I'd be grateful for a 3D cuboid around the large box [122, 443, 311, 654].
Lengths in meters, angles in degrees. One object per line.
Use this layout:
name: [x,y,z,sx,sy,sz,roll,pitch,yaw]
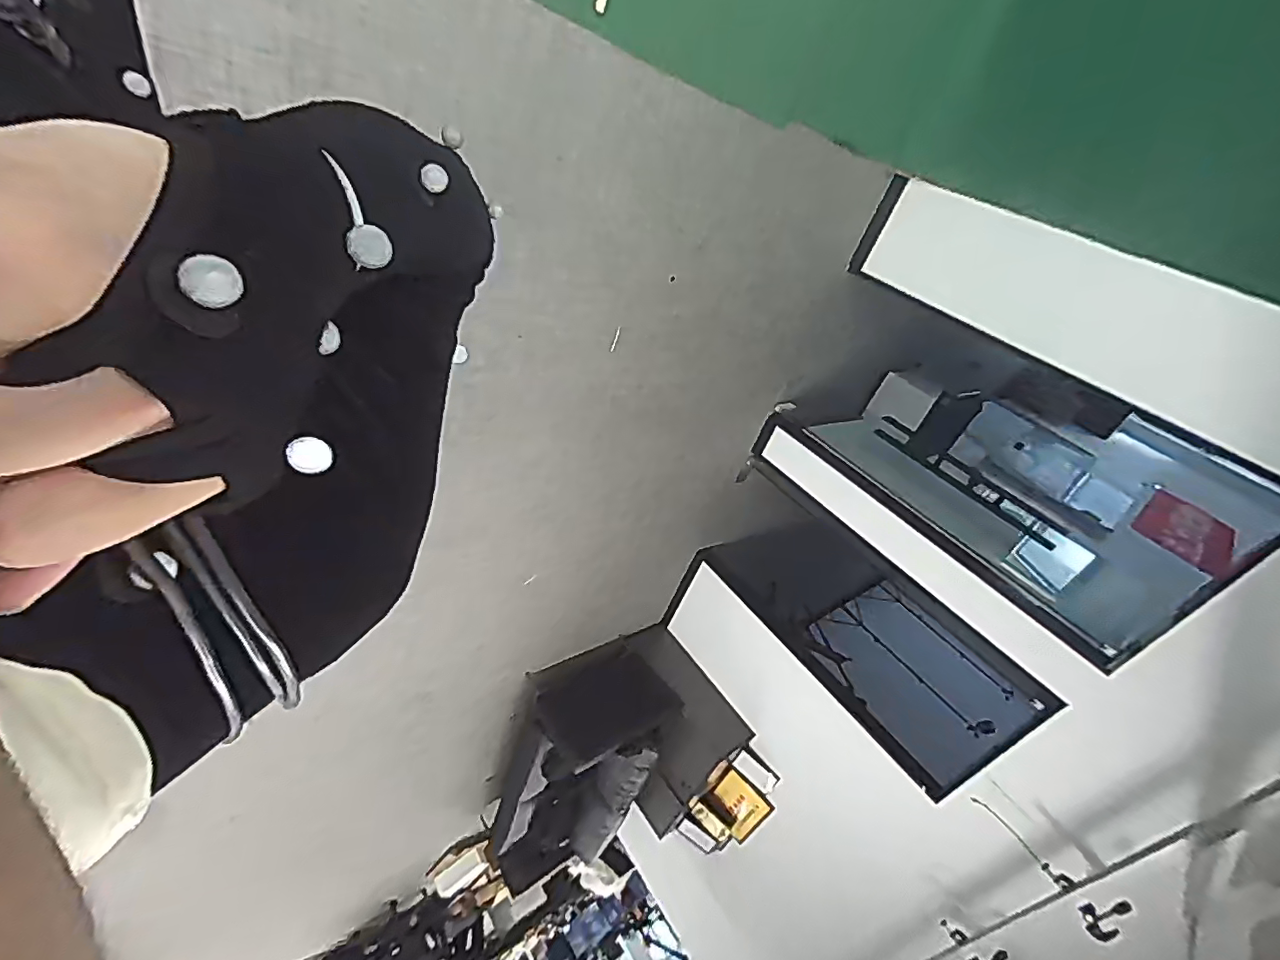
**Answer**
large box: [-1.071,0.153,1.354,0.320,0.320,0.408,-1,128,-47]
